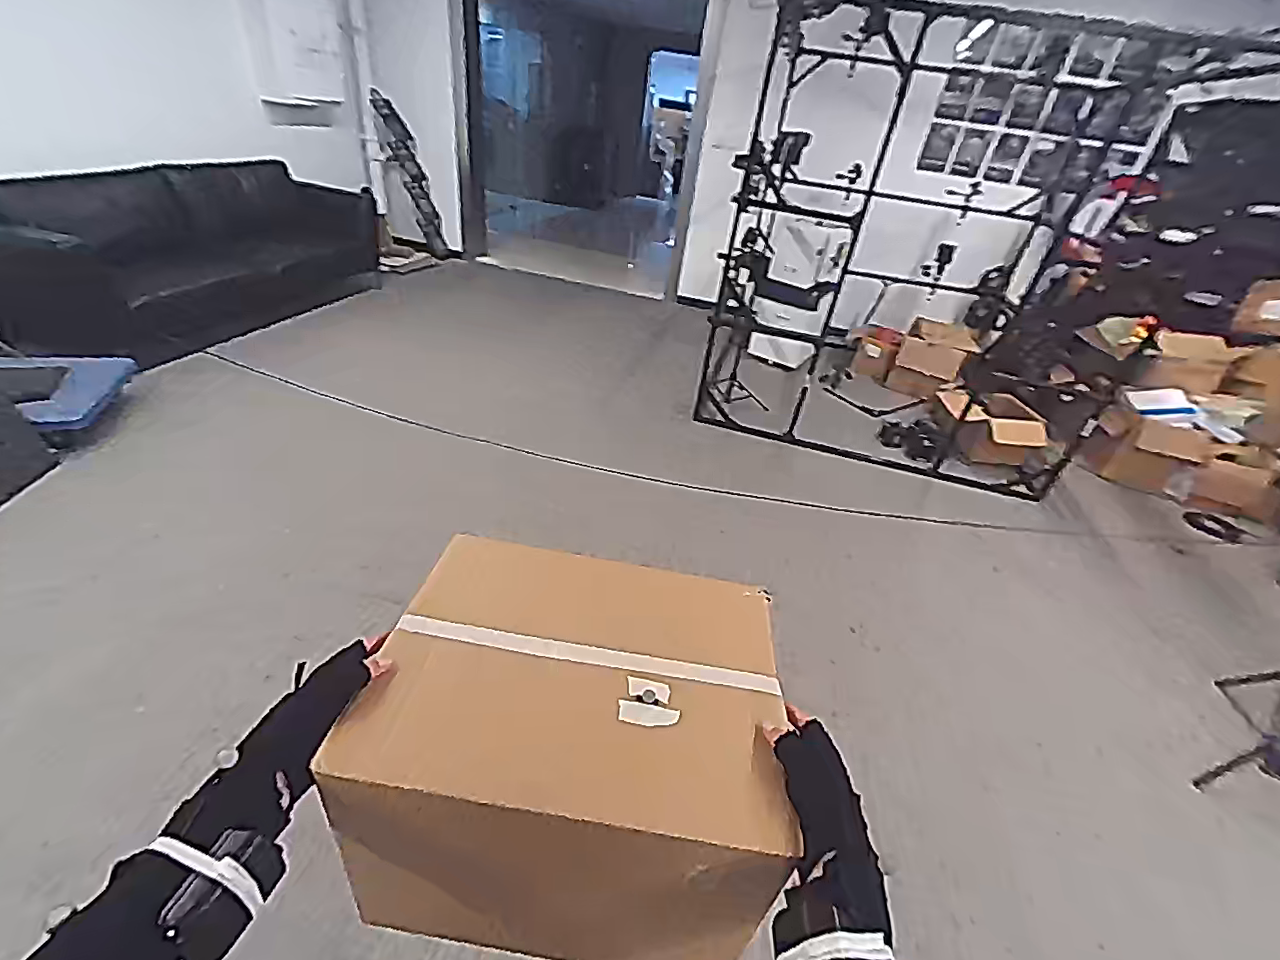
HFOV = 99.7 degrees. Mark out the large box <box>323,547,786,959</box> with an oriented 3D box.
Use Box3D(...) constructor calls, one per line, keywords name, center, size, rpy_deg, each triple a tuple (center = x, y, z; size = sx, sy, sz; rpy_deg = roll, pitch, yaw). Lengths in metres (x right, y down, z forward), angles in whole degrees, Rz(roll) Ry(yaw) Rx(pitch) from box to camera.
Box3D(name="large box", center=(-0.083, 0.322, 0.652), size=(0.408, 0.320, 0.320), rpy_deg=(10, 32, 0))
